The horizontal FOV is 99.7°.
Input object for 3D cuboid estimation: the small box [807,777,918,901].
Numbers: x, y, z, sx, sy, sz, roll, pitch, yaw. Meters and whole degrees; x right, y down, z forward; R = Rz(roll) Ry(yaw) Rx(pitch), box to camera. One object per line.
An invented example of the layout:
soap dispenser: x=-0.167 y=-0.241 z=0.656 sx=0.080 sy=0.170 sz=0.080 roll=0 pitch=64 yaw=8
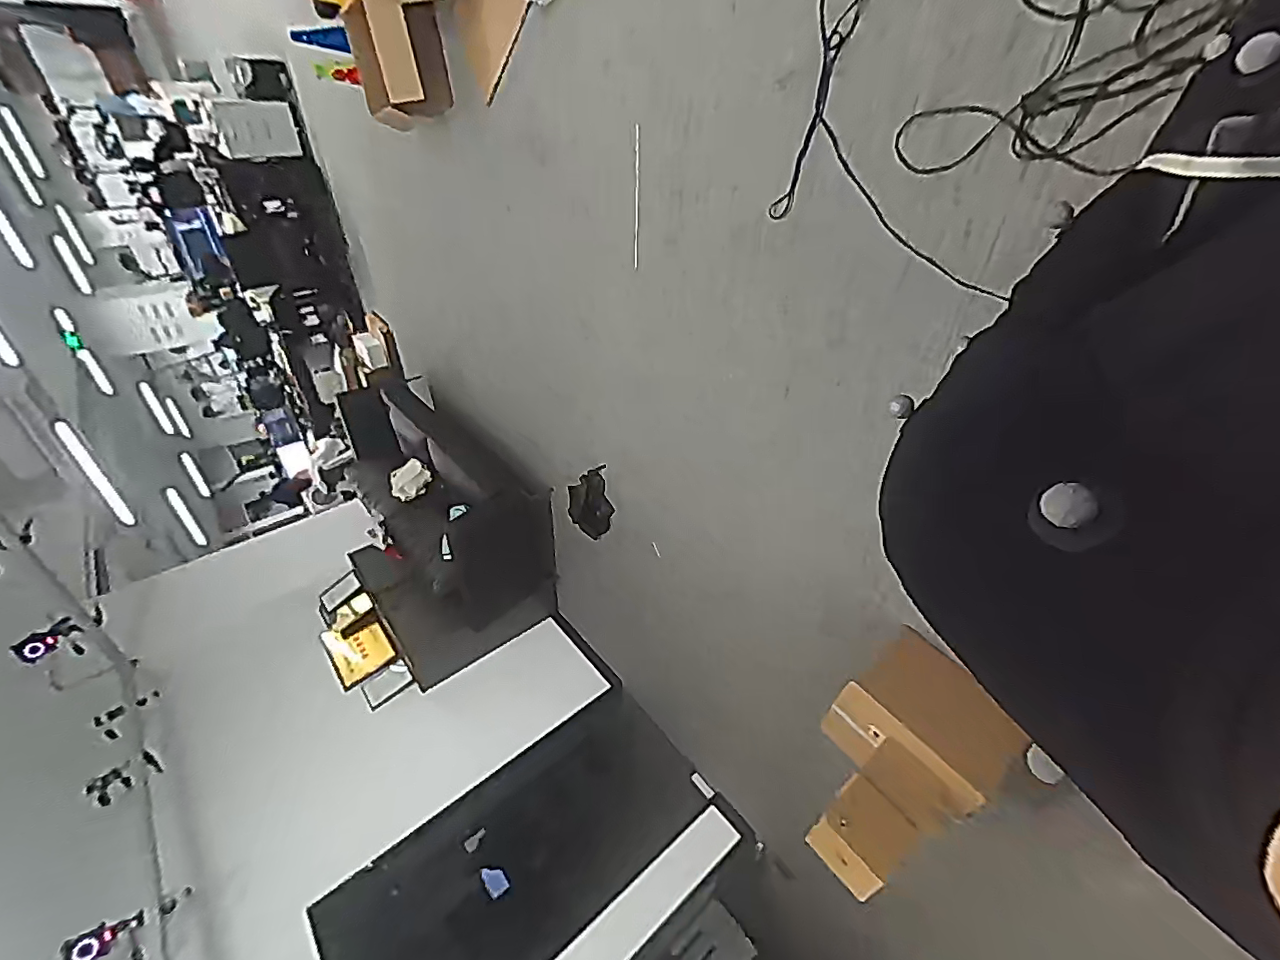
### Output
small box: x=0.561 y=0.900 z=1.365 sx=0.179 sy=0.176 sz=0.168 roll=41 pitch=141 yaw=35

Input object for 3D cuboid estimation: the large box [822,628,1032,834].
large box: x=0.839 y=0.734 z=1.619 sx=0.408 sy=0.320 sz=0.320 roll=42 pitch=141 yaw=33
